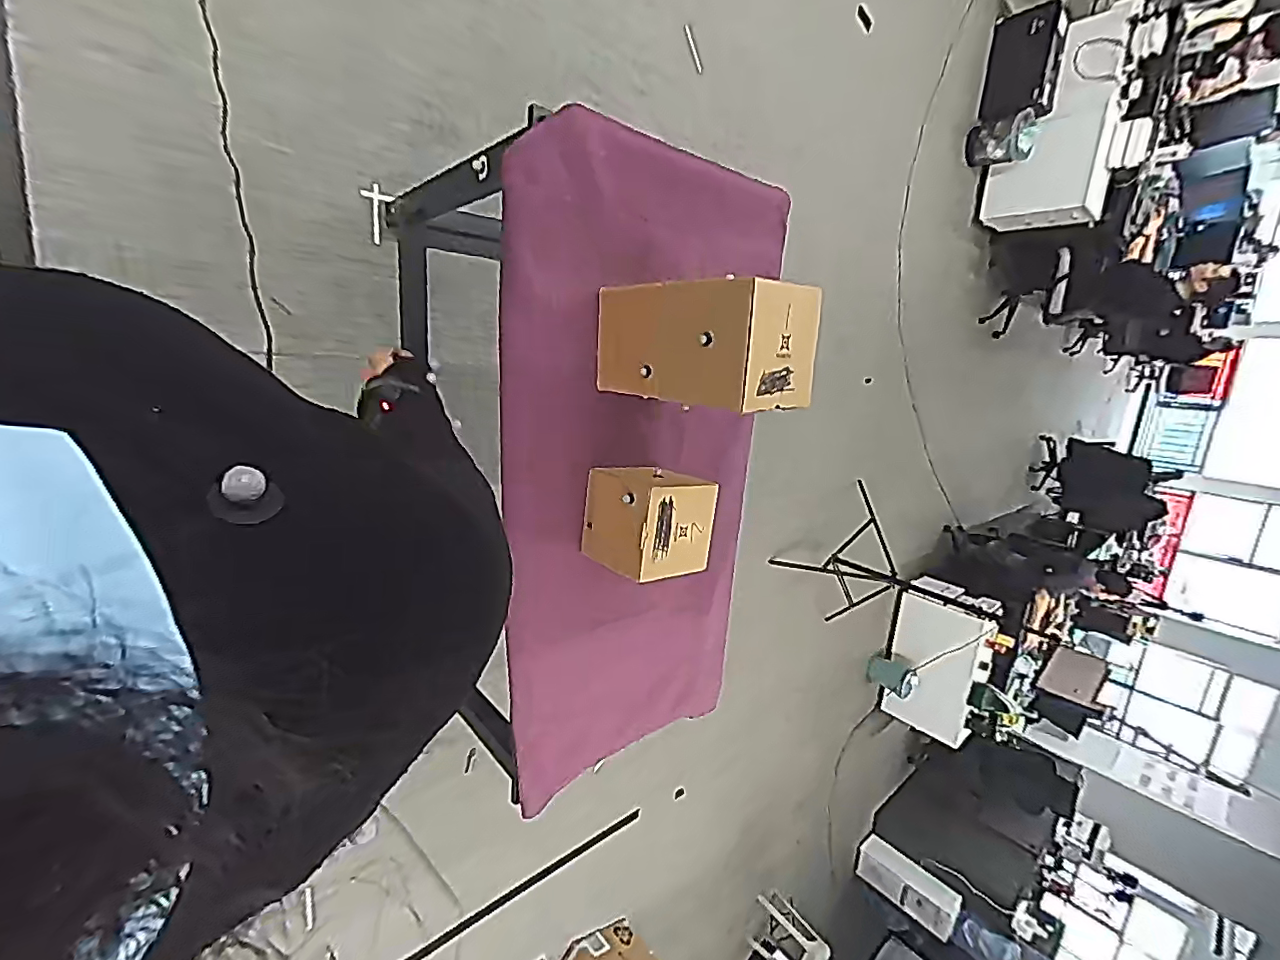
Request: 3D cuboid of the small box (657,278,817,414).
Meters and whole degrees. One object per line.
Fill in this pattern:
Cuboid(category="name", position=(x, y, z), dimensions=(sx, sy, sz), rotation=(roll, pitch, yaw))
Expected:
Cuboid(category="small box", position=(0.140, -0.202, 0.819), dimensions=(0.168, 0.176, 0.179), rotation=(-11, 109, -41))

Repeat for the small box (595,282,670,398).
Cuboid(category="small box", position=(0.034, -0.240, 0.939), dimensions=(0.168, 0.176, 0.179), rotation=(-10, 110, -41))
